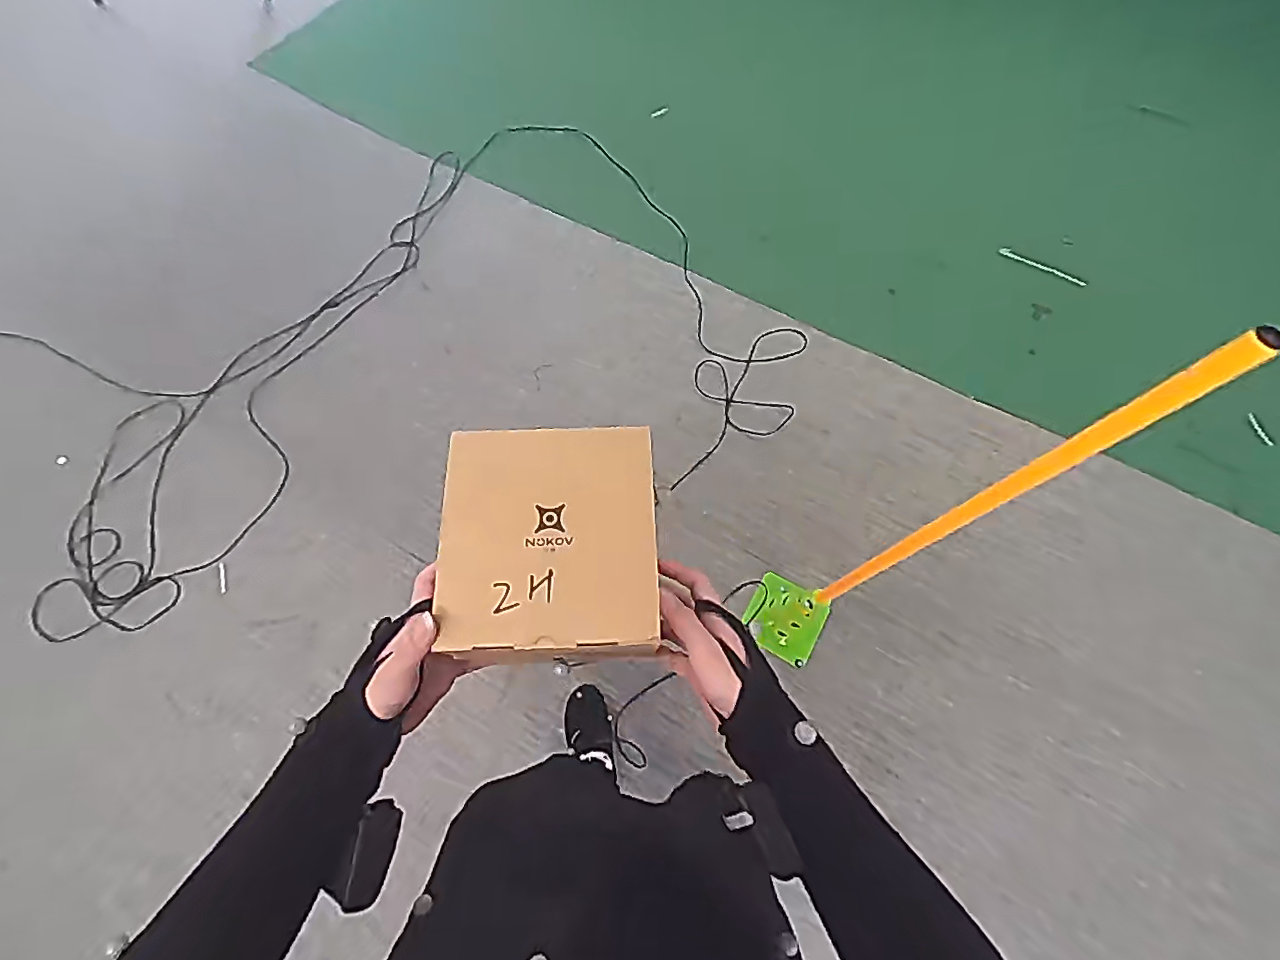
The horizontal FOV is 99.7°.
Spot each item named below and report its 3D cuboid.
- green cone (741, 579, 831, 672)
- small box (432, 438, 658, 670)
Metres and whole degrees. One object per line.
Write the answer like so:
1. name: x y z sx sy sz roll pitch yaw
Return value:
1. green cone: 0.398 0.330 1.333 0.202 0.368 0.200 28 71 13
2. small box: -0.071 0.076 0.496 0.168 0.176 0.179 -1 68 -1
